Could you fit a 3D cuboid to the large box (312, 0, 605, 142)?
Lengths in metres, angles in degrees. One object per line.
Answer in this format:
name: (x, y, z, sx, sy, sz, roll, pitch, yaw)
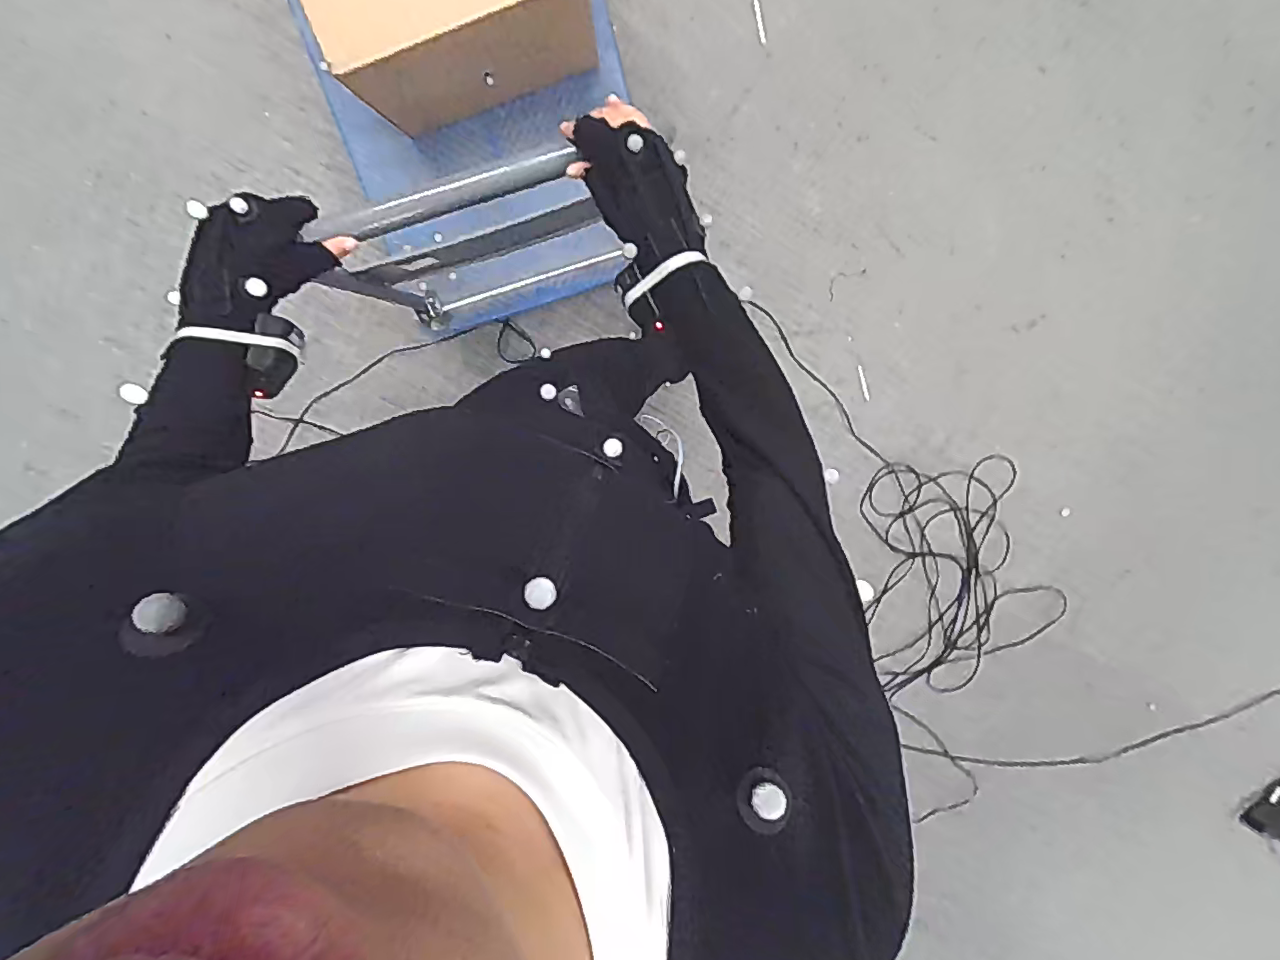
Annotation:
large box: (-0.302, -0.836, 0.895, 0.408, 0.320, 0.320, -19, 106, 5)
